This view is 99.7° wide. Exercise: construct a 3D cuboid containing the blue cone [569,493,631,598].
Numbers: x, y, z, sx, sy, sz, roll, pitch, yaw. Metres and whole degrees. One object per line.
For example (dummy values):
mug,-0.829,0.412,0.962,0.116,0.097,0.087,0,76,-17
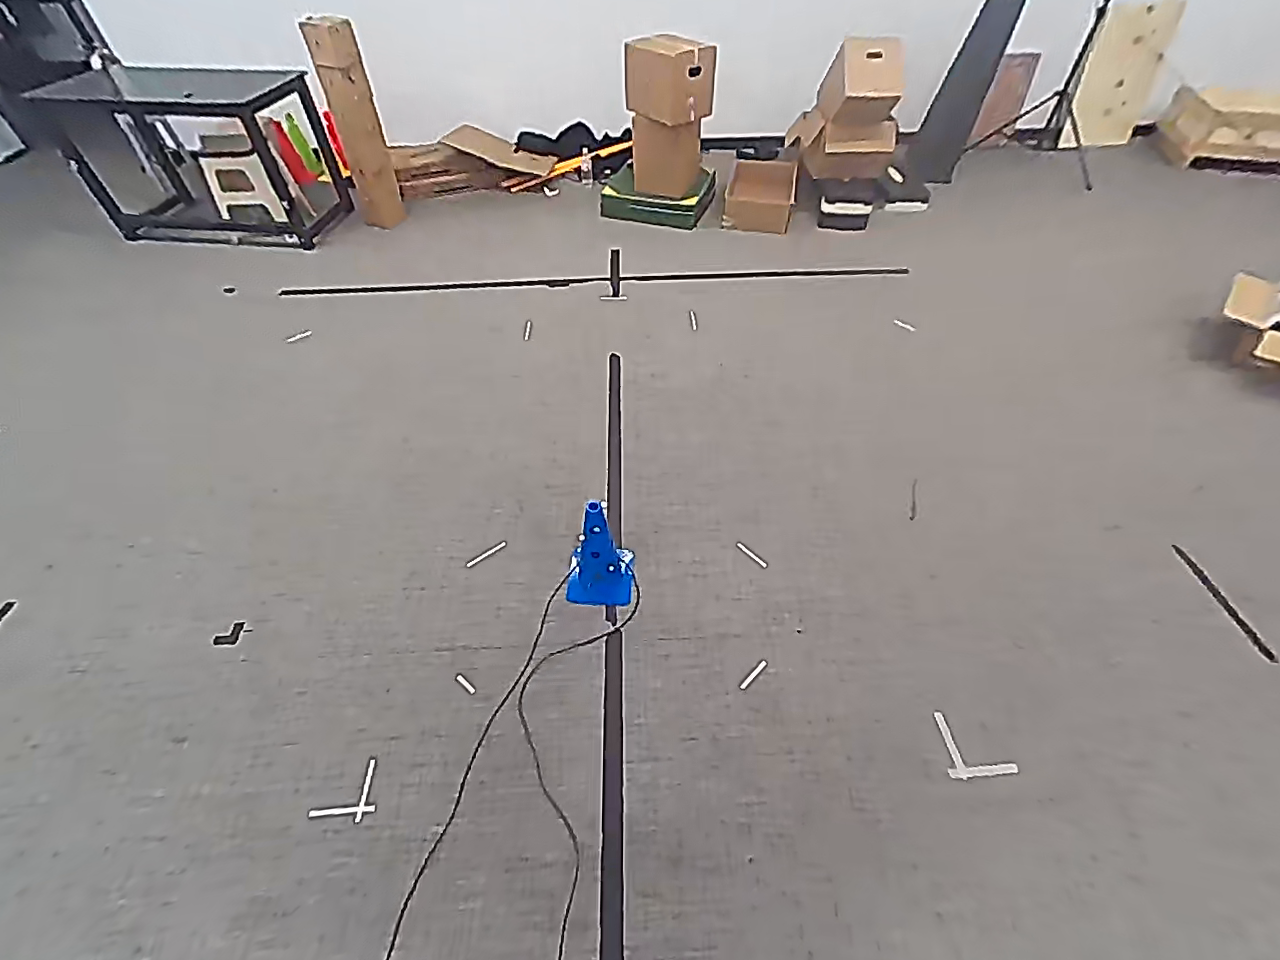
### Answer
blue cone,-0.126,0.174,1.555,0.193,0.380,0.192,0,50,1
